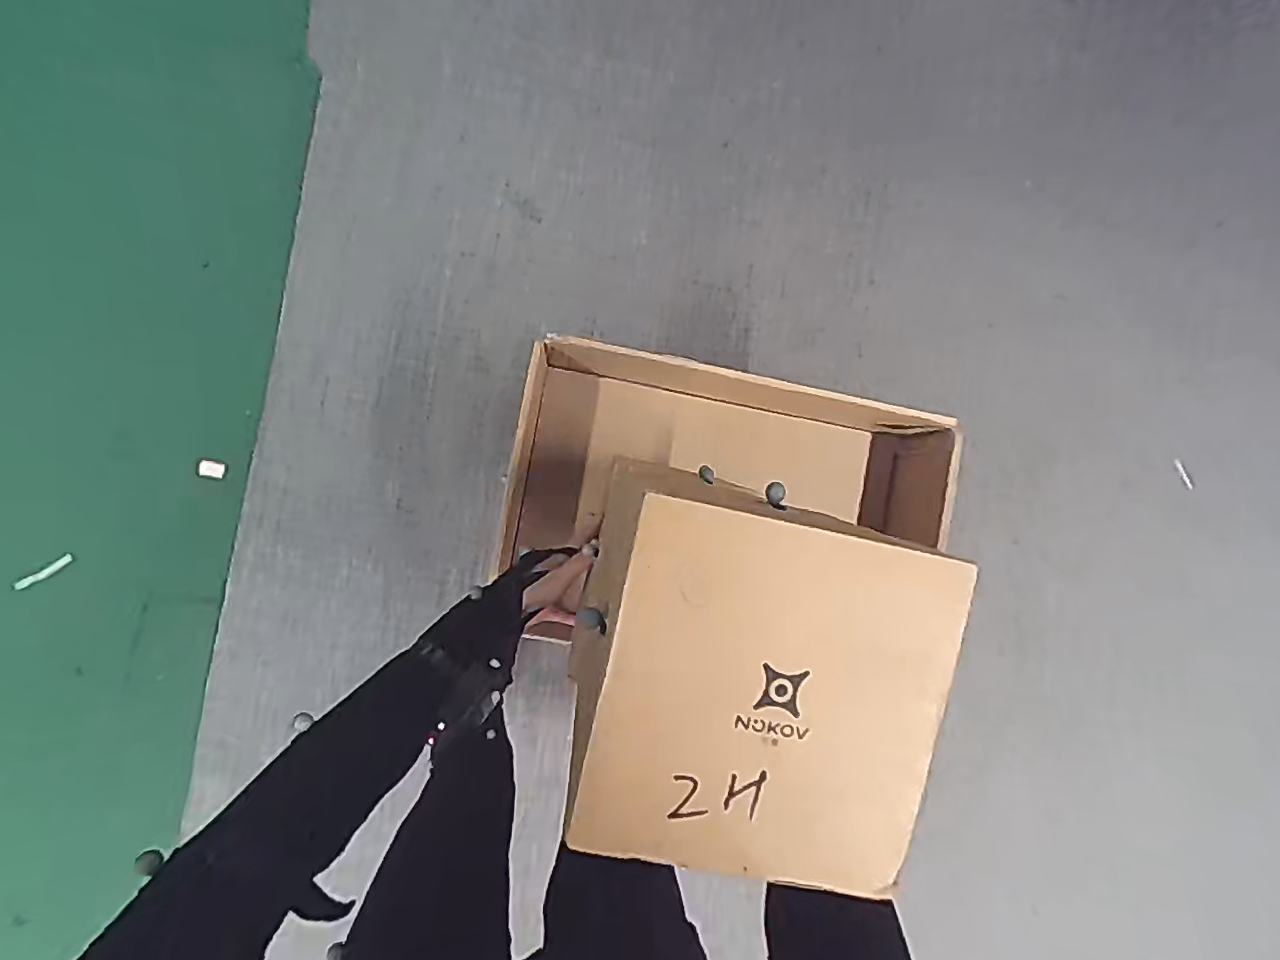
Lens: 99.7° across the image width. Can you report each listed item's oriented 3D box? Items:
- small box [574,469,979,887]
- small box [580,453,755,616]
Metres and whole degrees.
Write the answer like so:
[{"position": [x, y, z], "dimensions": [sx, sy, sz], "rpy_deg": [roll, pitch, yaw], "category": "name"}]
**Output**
[{"position": [0.059, 0.094, 0.334], "dimensions": [0.168, 0.176, 0.179], "rpy_deg": [13, 93, -5], "category": "small box"}, {"position": [0.028, 0.071, 0.662], "dimensions": [0.168, 0.176, 0.179], "rpy_deg": [13, 93, -6], "category": "small box"}]
